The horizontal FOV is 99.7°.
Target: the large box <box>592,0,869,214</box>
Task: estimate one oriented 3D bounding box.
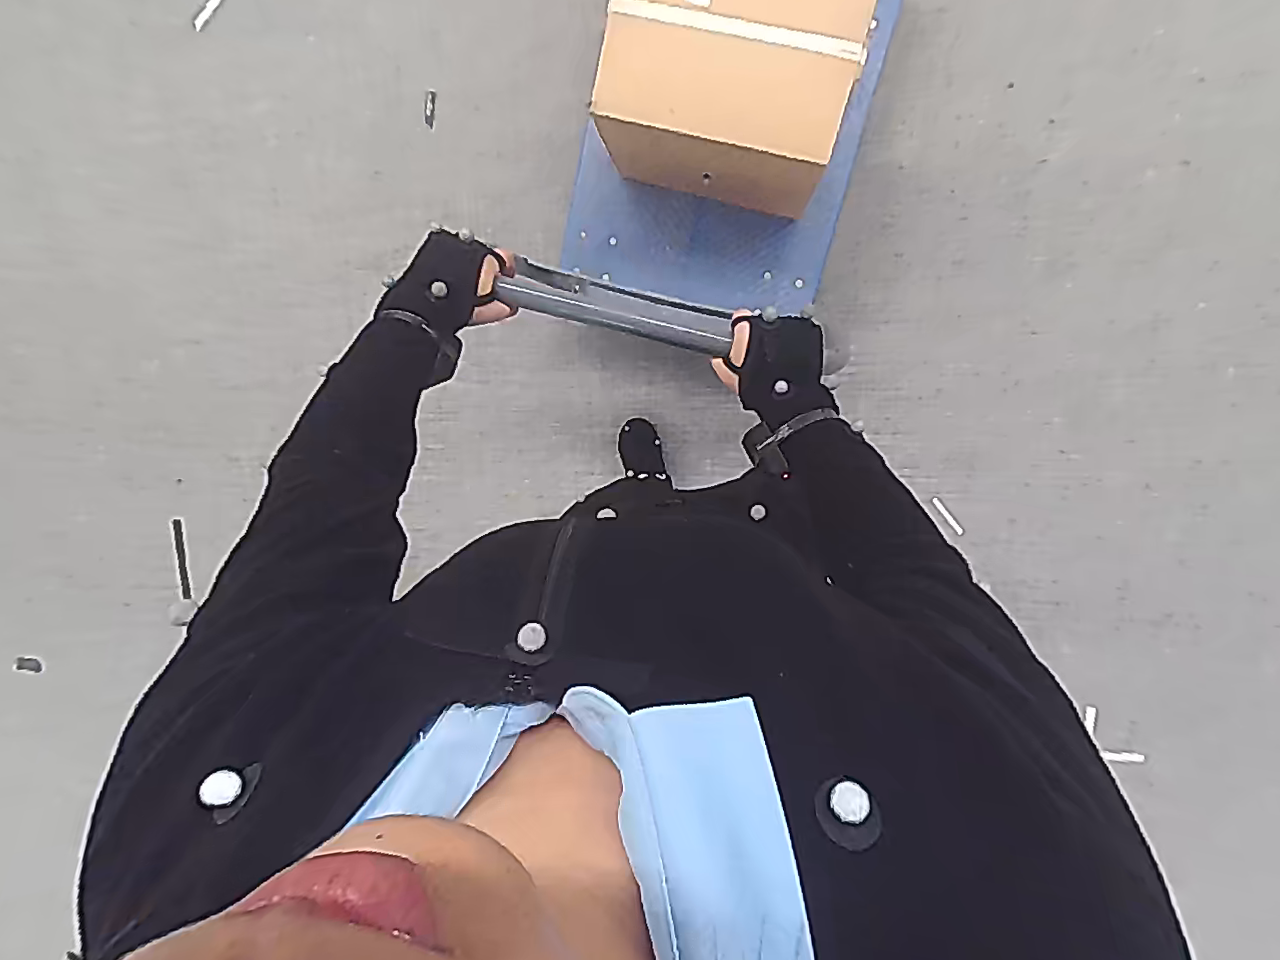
[{"bbox_3d":[0.166,-0.735,1.013,0.408,0.320,0.320,16,101,6],"label":"large box"}]
